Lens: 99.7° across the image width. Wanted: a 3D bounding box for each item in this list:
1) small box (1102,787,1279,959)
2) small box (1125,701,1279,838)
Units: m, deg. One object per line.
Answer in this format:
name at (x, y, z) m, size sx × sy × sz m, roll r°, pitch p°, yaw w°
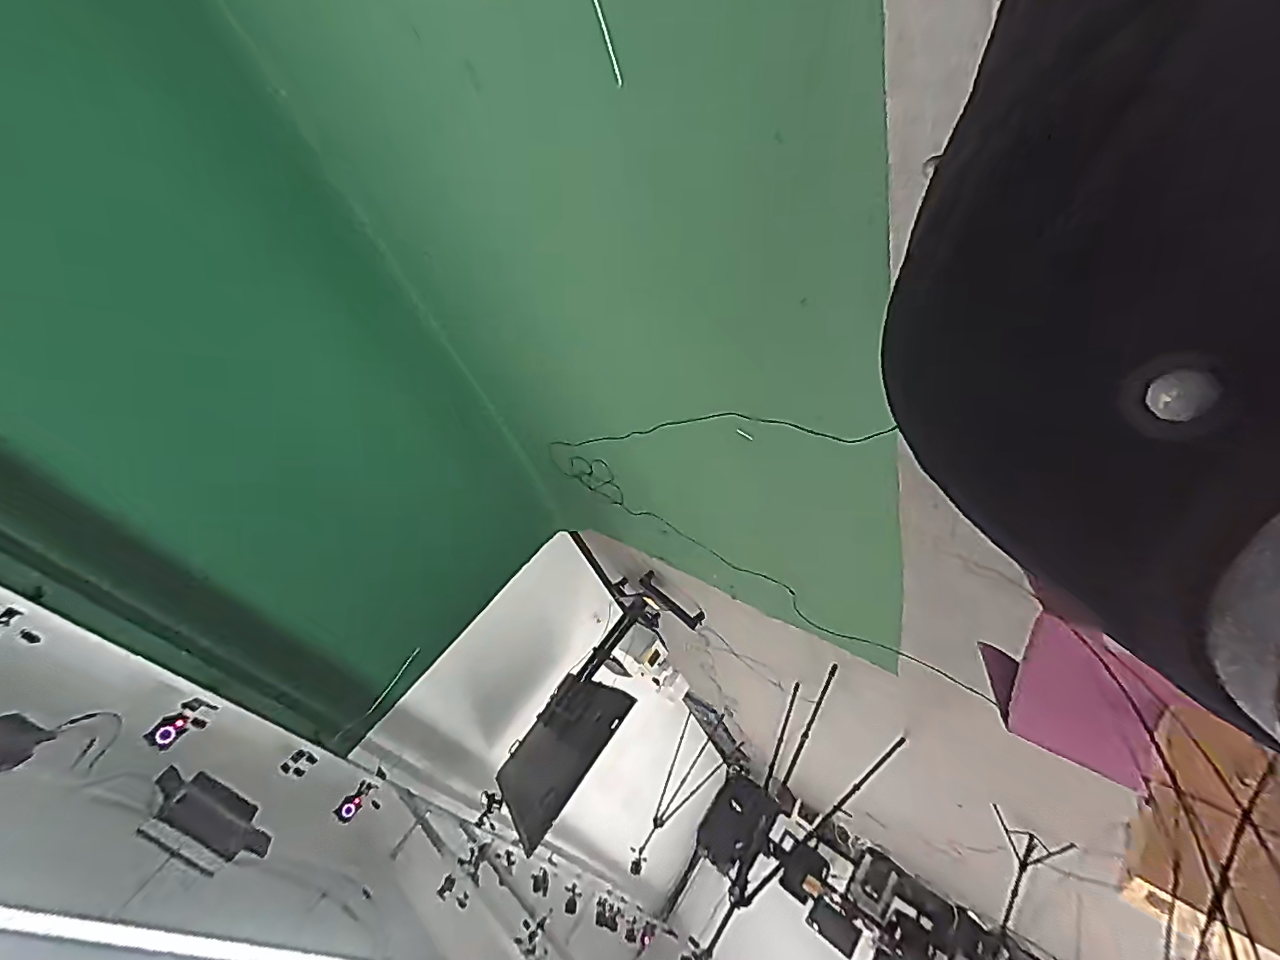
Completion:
small box at (0.911, 0.641, 0.893) m, size 0.179 × 0.176 × 0.168 m, roll 19°, pitch 147°, yaw 40°
small box at (1.012, 0.532, 0.964) m, size 0.179 × 0.176 × 0.168 m, roll 18°, pitch 146°, yaw 41°
